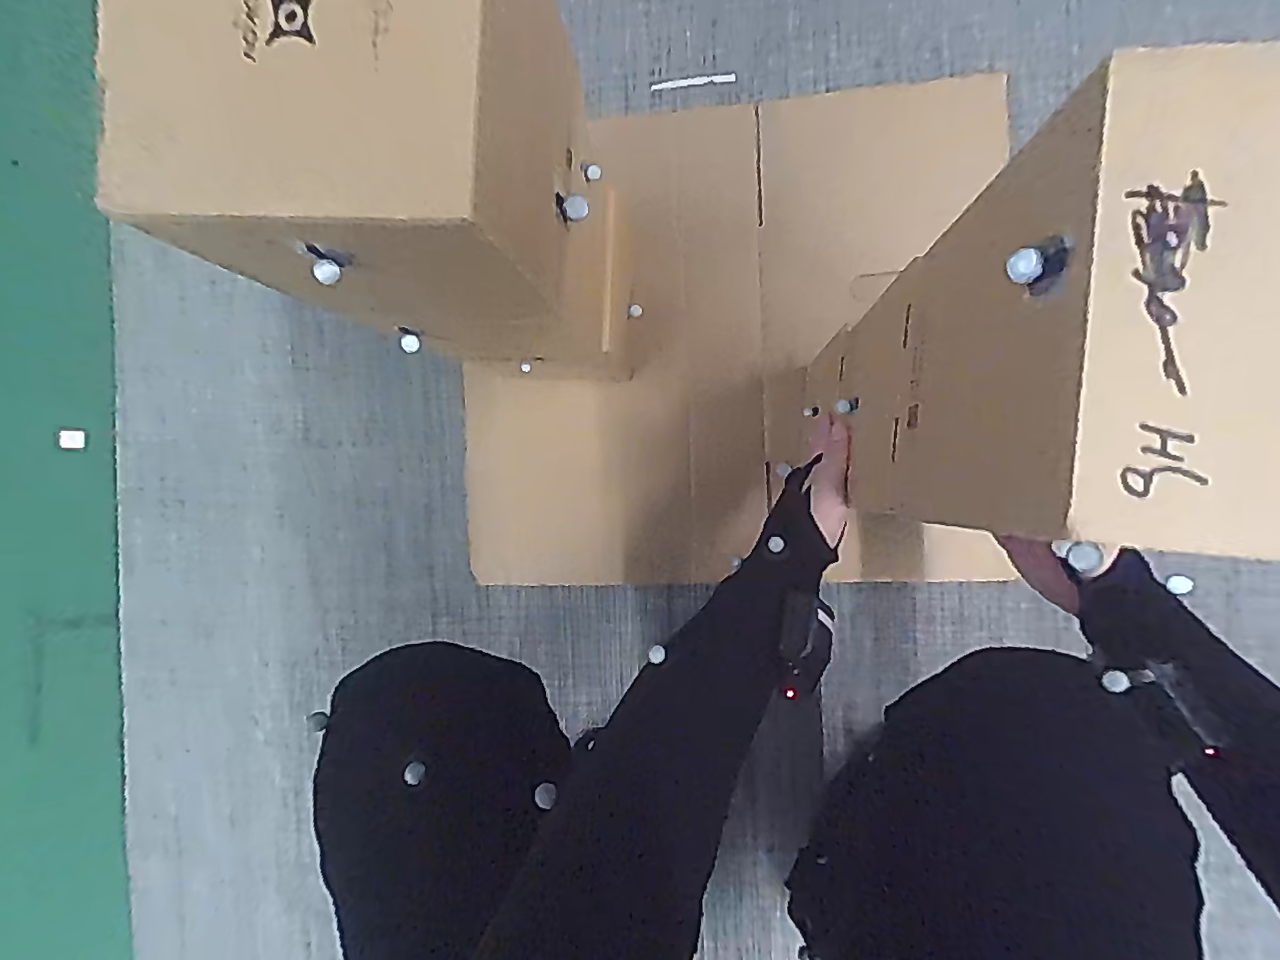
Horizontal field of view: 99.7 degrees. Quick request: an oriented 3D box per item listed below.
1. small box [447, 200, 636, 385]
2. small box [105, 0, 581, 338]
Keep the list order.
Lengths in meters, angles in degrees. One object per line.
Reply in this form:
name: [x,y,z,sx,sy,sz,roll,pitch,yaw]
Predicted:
small box: [-0.105,-0.207,0.640,0.179,0.176,0.168,2,91,7]
small box: [-0.144,-0.186,0.315,0.179,0.176,0.168,4,92,7]
